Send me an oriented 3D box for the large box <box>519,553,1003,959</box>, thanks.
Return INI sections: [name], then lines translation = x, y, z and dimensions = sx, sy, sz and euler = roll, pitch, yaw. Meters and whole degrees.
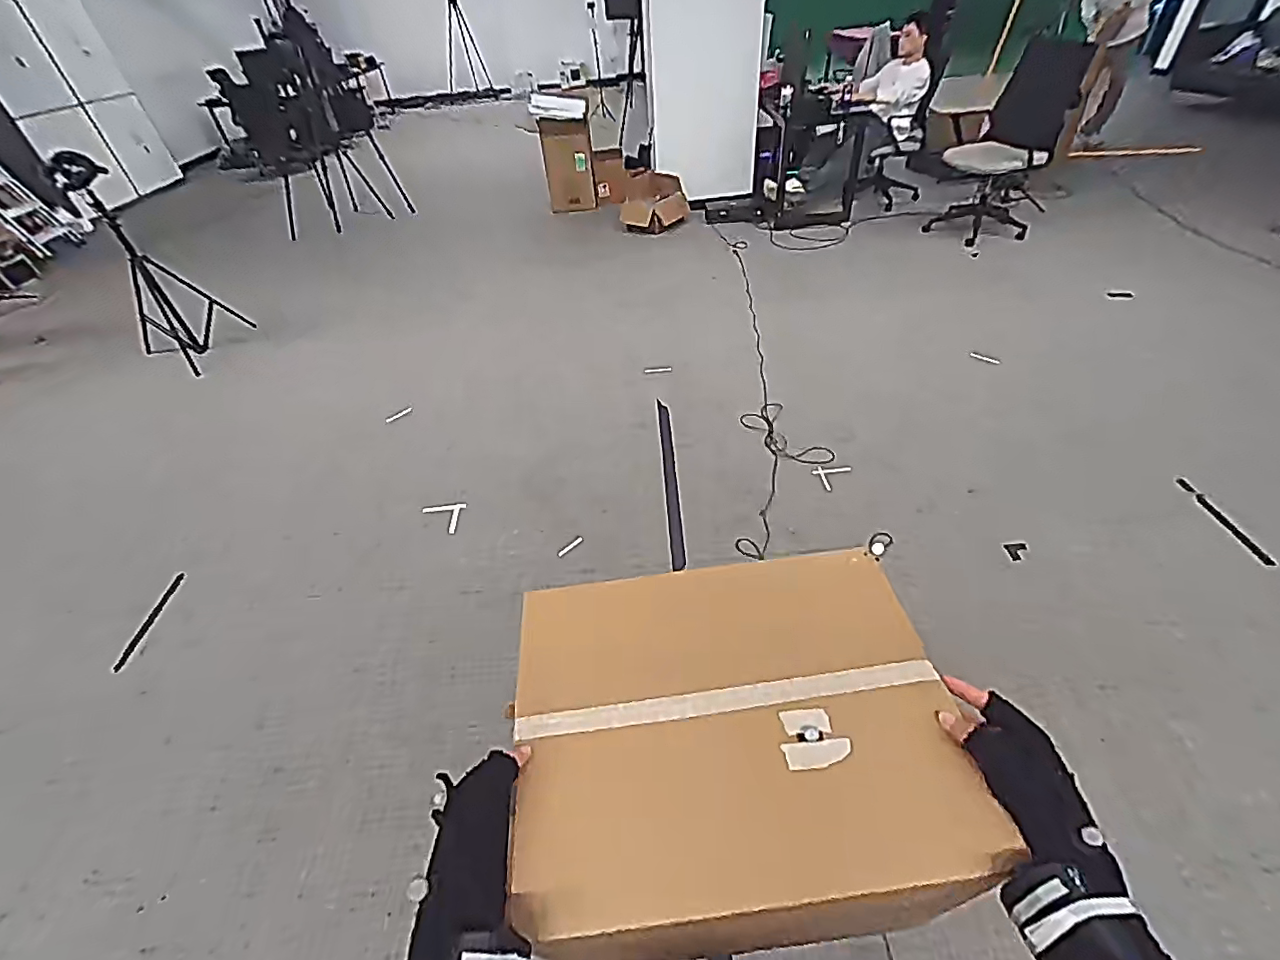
[large box]
translation = 0.093, 0.326, 0.636
dimensions = 0.408, 0.320, 0.320
euler = -7, 45, -1
